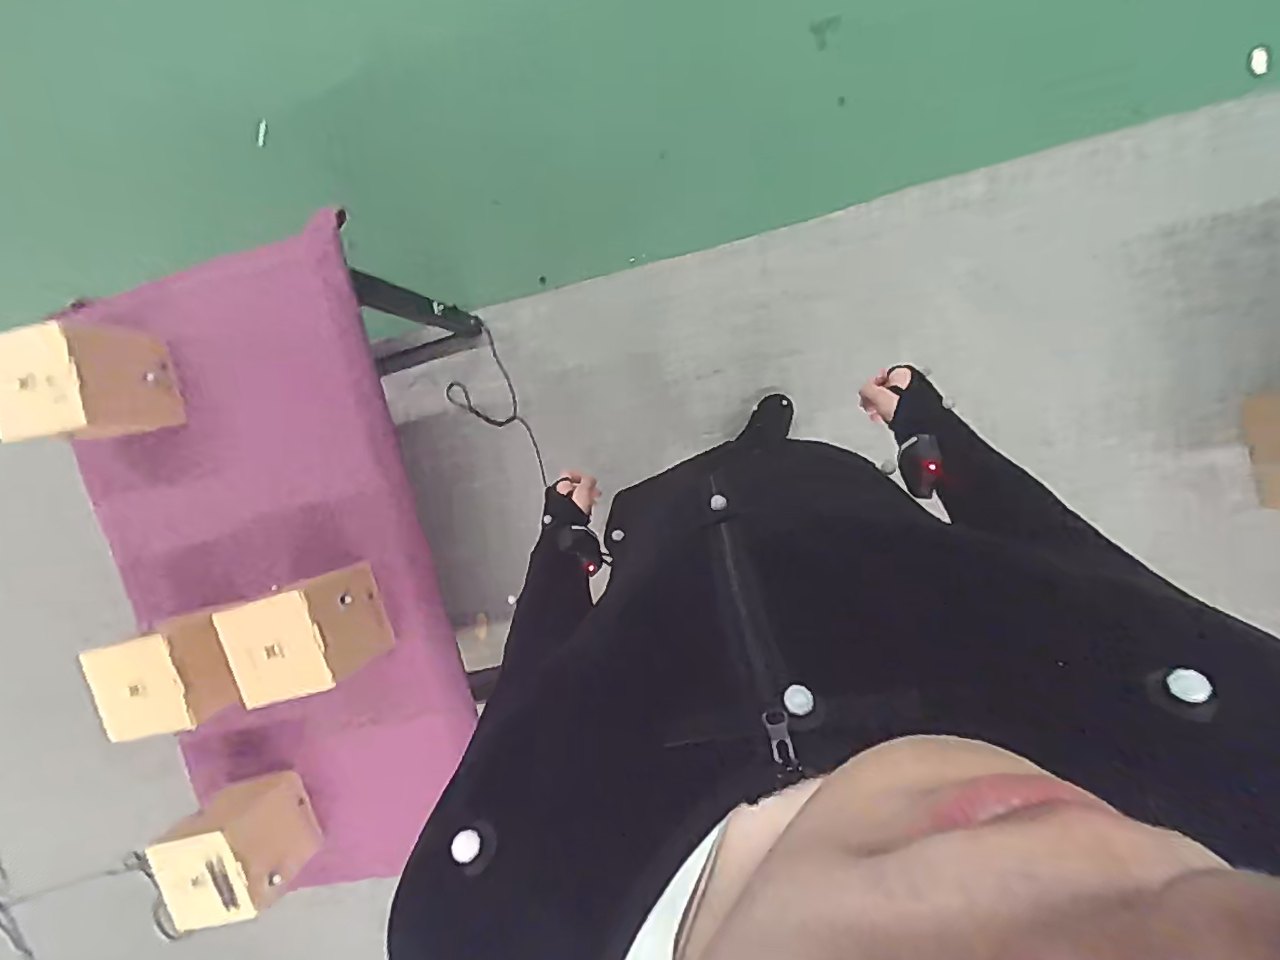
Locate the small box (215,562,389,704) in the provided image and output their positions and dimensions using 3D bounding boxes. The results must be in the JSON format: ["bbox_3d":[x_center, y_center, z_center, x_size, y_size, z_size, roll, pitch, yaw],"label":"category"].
[{"bbox_3d":[-0.568,0.255,0.938,0.179,0.176,0.168,-16,95,12],"label":"small box"}]

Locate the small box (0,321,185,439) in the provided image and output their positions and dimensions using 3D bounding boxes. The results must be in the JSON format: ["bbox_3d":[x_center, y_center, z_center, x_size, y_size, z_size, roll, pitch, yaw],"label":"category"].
[{"bbox_3d":[-0.953,-0.167,0.936,0.179,0.176,0.168,-8,97,9],"label":"small box"}]

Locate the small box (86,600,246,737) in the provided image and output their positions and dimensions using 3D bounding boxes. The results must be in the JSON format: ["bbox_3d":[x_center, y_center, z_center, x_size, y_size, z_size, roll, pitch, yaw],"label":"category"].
[{"bbox_3d":[-0.830,0.336,0.990,0.179,0.176,0.168,-14,95,9],"label":"small box"}]
